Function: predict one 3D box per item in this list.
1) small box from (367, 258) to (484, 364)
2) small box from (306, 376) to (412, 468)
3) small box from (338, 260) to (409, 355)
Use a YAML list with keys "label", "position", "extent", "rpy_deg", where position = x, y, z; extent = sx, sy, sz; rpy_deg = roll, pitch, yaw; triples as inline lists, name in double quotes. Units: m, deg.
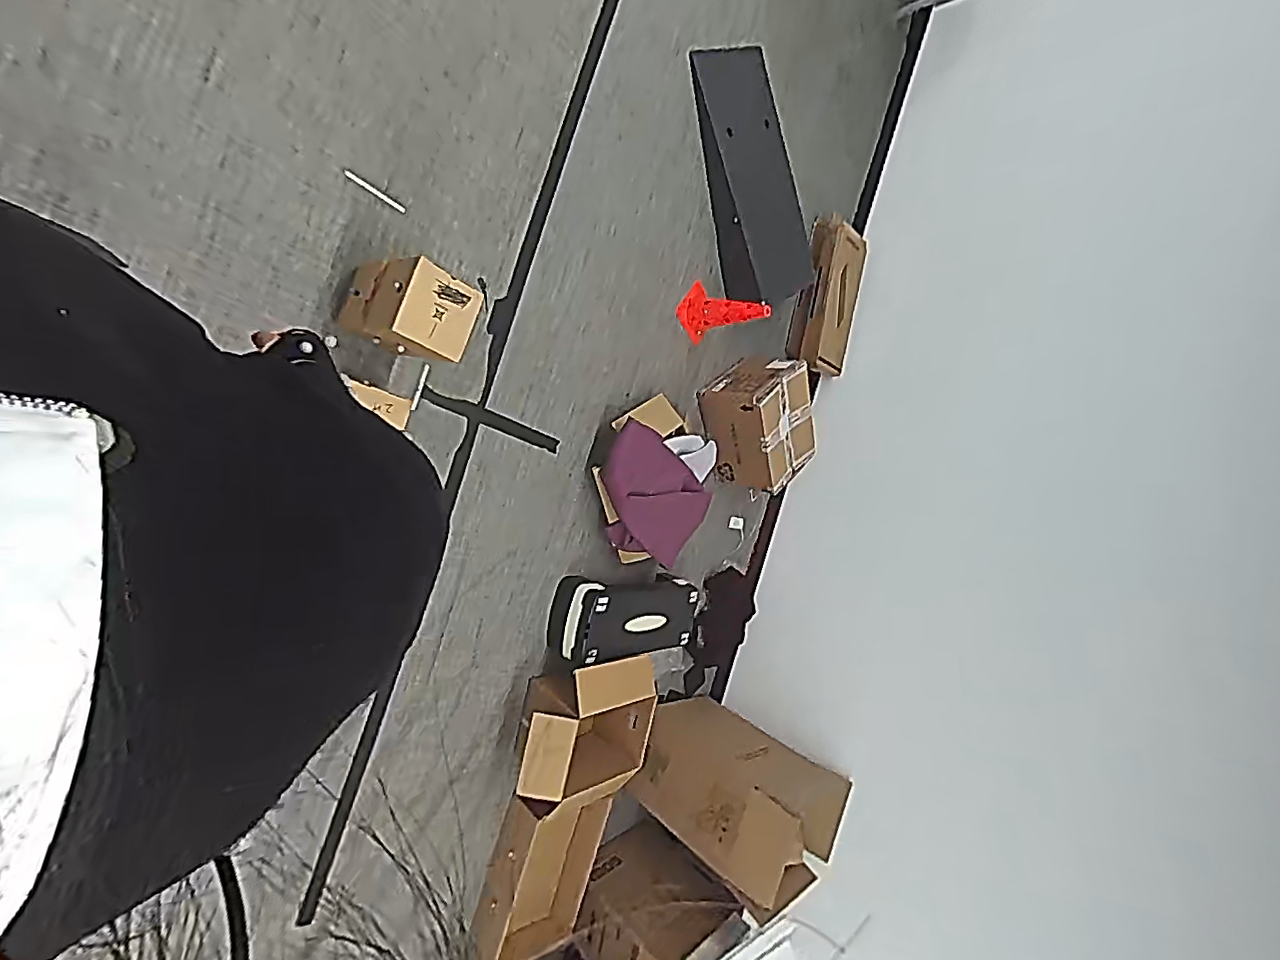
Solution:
- label: "small box"
  position: [-0.498, -0.385, 1.248]
  extent: [0.168, 0.176, 0.179]
  rpy_deg: [24, 84, -48]
- label: "small box"
  position: [-0.704, -0.146, 1.344]
  extent: [0.168, 0.176, 0.179]
  rpy_deg: [19, 87, -48]
- label: "small box"
  position: [-0.621, -0.420, 1.354]
  extent: [0.179, 0.176, 0.168]
  rpy_deg: [24, 83, -47]
